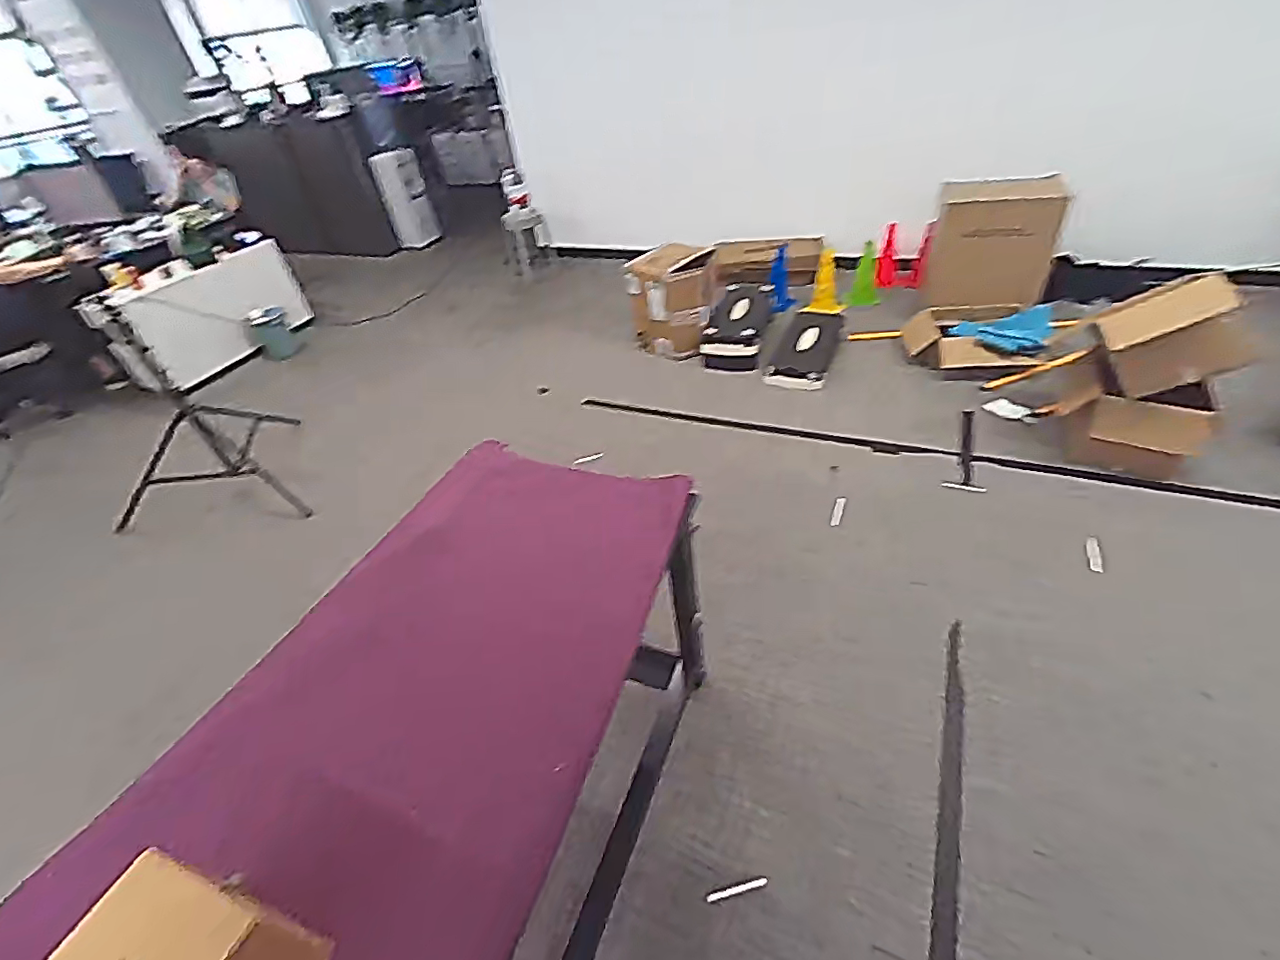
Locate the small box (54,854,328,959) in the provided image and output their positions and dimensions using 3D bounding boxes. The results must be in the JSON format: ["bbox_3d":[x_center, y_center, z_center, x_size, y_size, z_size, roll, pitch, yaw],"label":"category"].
[{"bbox_3d":[-0.474,0.530,0.553,0.179,0.176,0.168,9,43,19],"label":"small box"}]
